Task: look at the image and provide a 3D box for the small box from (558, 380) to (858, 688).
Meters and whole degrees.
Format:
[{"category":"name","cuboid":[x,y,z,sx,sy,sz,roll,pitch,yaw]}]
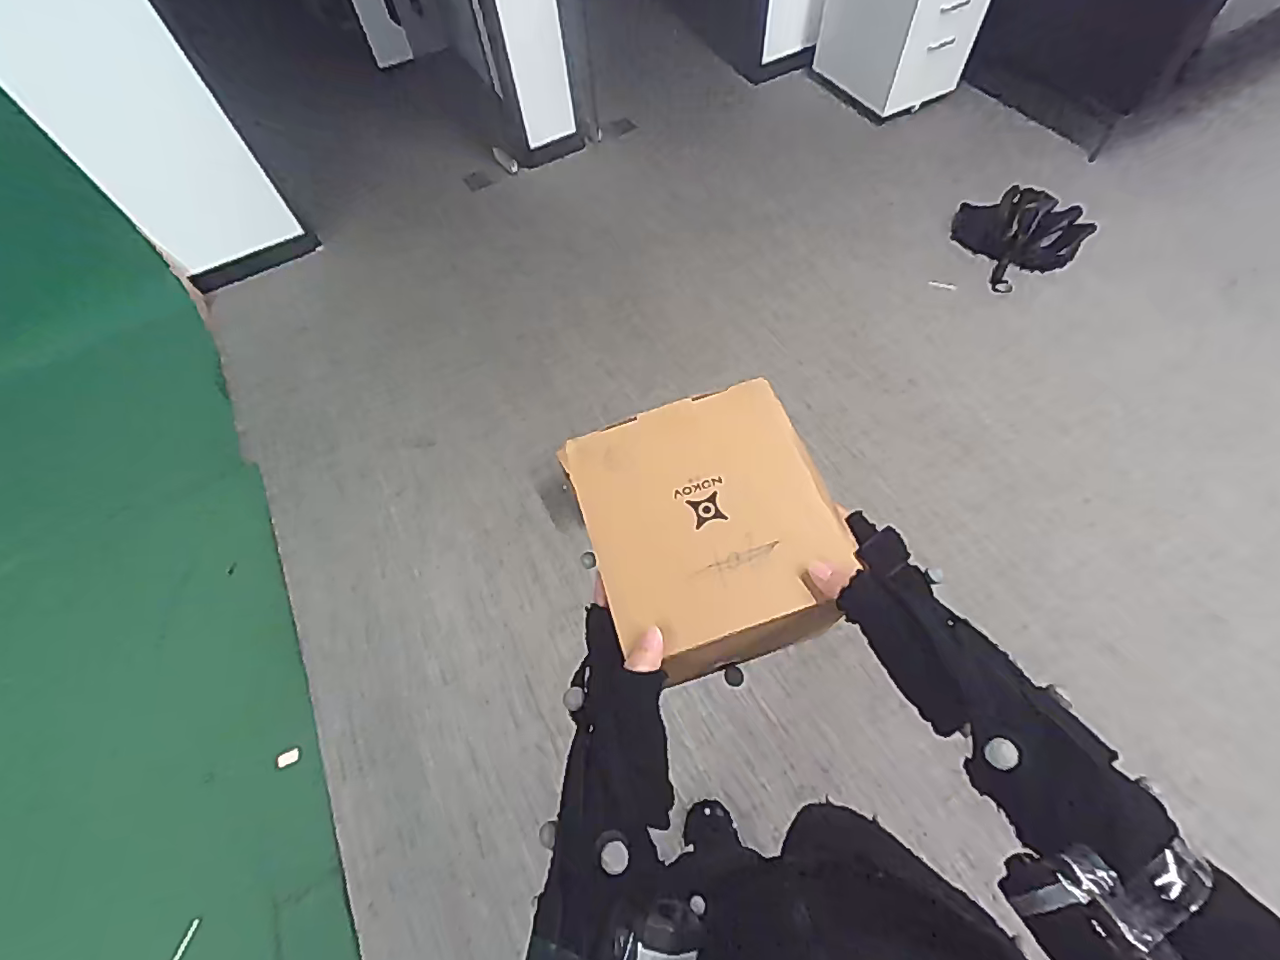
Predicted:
[{"category":"small box","cuboid":[0.045,0.054,0.445,0.168,0.176,0.179,-18,63,-1]}]
